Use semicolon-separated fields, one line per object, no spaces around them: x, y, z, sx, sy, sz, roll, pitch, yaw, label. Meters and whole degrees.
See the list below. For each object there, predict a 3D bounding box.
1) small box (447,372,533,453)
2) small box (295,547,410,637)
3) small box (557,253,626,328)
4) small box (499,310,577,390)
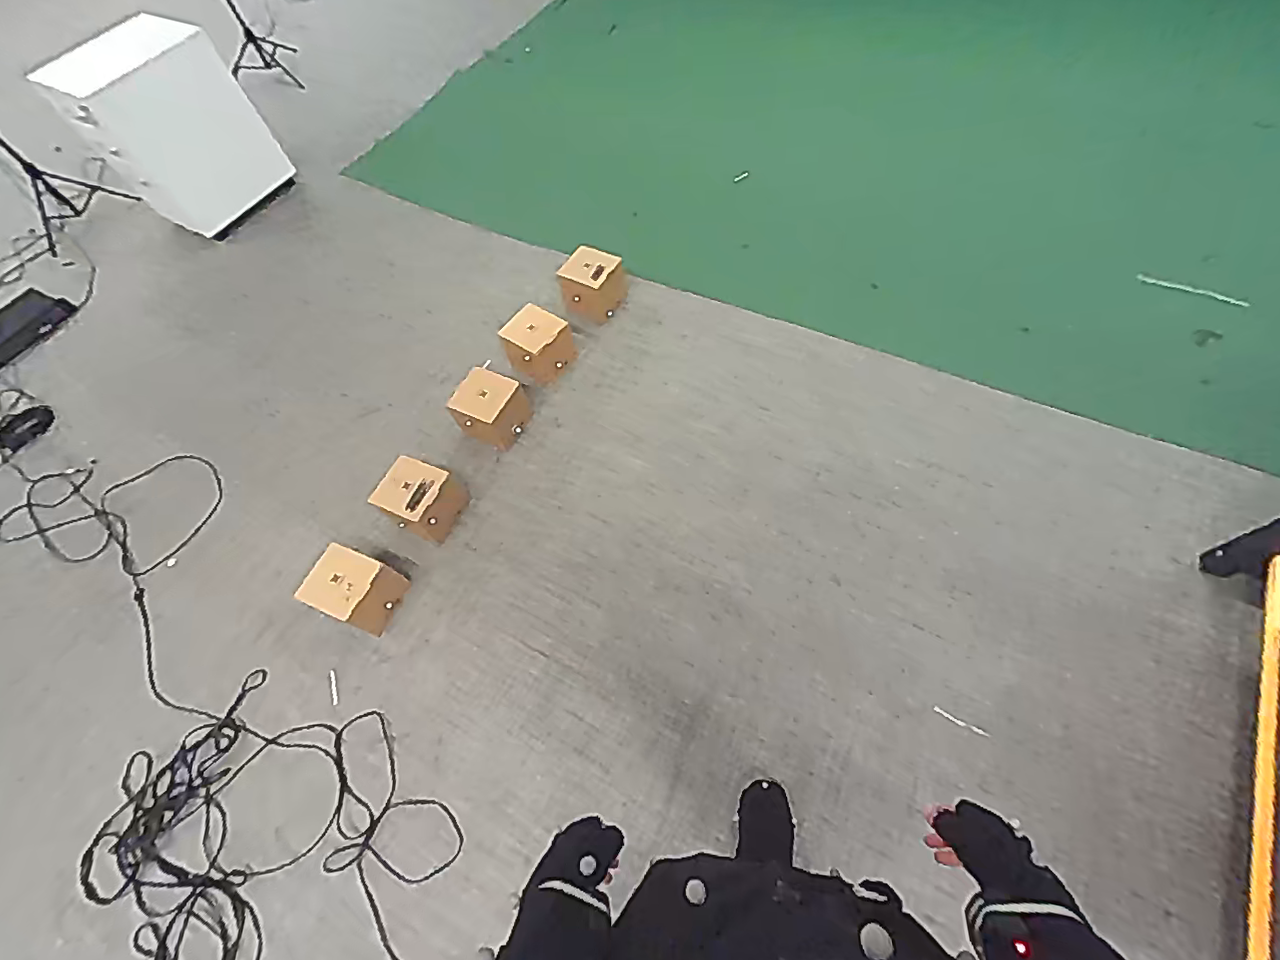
-0.468;-0.208;1.713;0.179;0.176;0.168;22;67;15;small box
-0.764;0.307;1.456;0.179;0.176;0.168;18;65;15;small box
-0.167;-0.677;1.946;0.179;0.176;0.168;25;66;19;small box
-0.339;-0.436;1.828;0.179;0.176;0.168;30;68;20;small box
